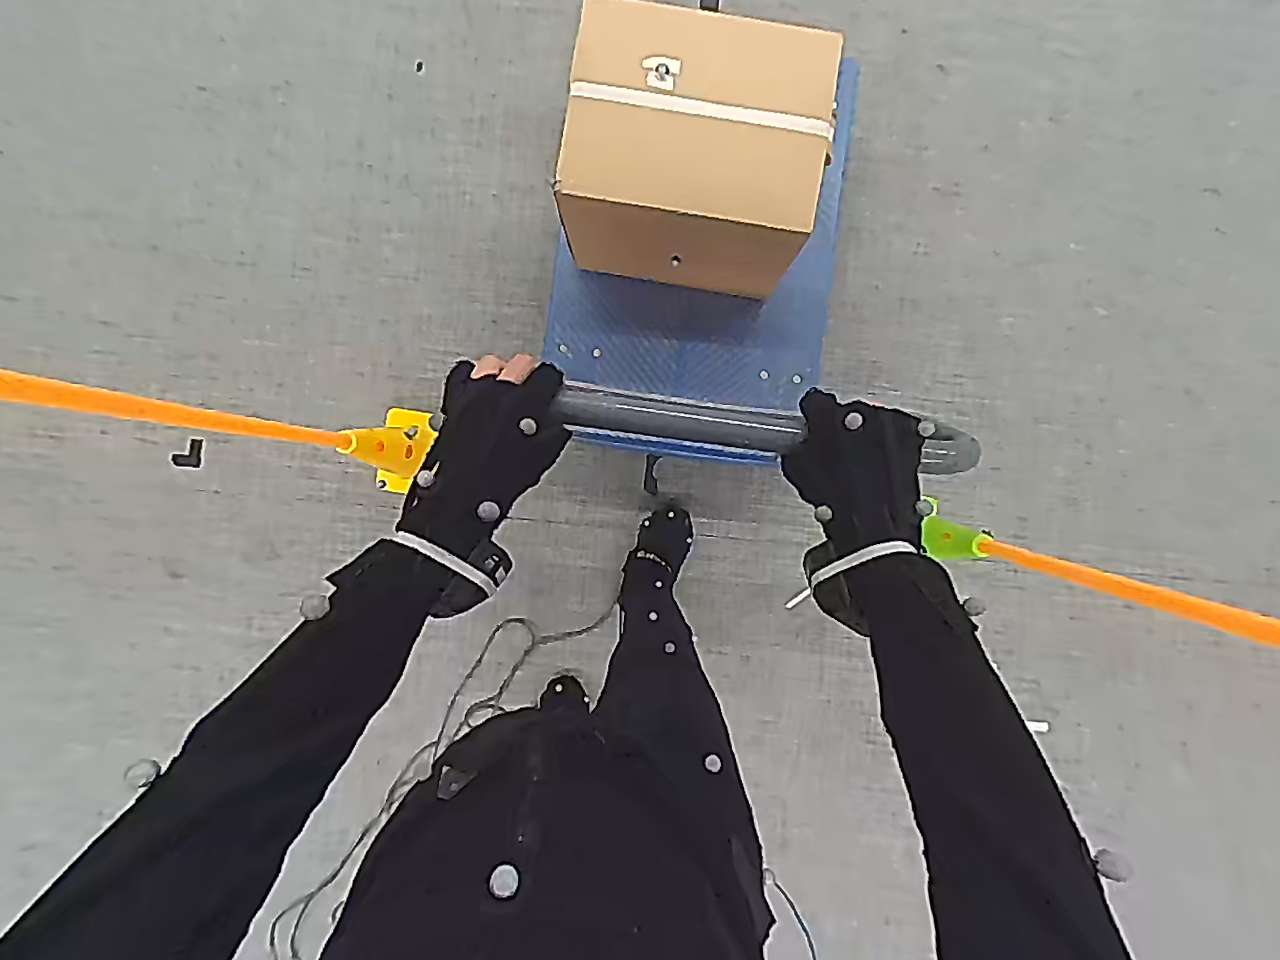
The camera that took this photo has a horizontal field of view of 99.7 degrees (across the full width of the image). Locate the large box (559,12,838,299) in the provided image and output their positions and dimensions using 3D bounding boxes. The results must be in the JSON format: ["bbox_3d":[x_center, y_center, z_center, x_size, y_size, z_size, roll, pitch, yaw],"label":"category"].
[{"bbox_3d":[0.095,-0.553,0.990,0.408,0.320,0.320,10,90,1],"label":"large box"}]

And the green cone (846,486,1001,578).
[{"bbox_3d":[0.604,0.122,1.120,0.202,0.368,0.200,10,89,-1],"label":"green cone"}]
